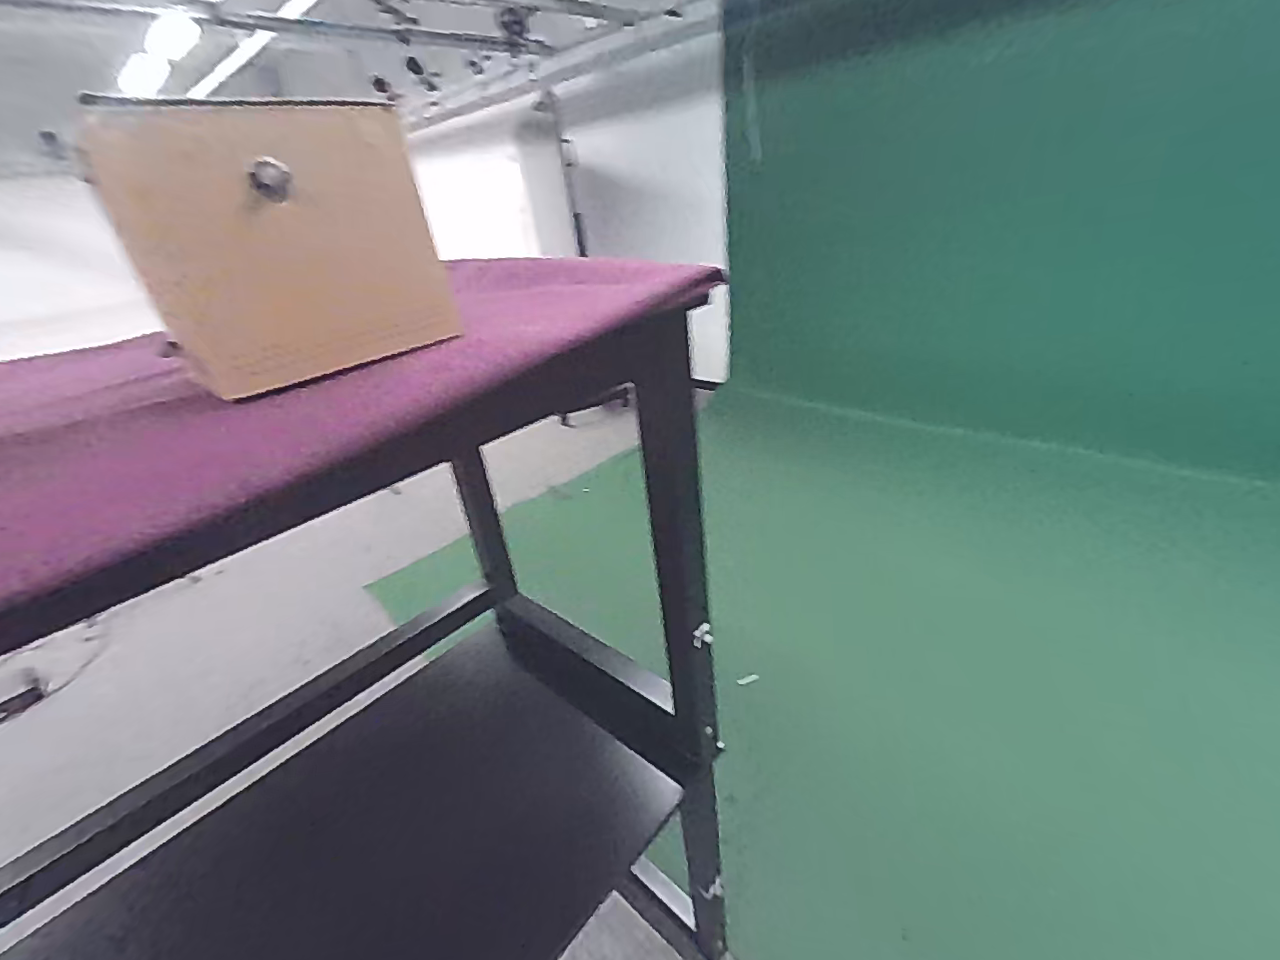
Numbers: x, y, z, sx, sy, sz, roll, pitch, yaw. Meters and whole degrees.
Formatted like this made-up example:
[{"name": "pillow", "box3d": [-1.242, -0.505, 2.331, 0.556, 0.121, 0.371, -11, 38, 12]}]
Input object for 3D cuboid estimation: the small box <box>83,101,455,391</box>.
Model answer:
[{"name": "small box", "box3d": [-0.279, -0.178, 0.428, 0.168, 0.176, 0.179, 17, 36, 41]}]
